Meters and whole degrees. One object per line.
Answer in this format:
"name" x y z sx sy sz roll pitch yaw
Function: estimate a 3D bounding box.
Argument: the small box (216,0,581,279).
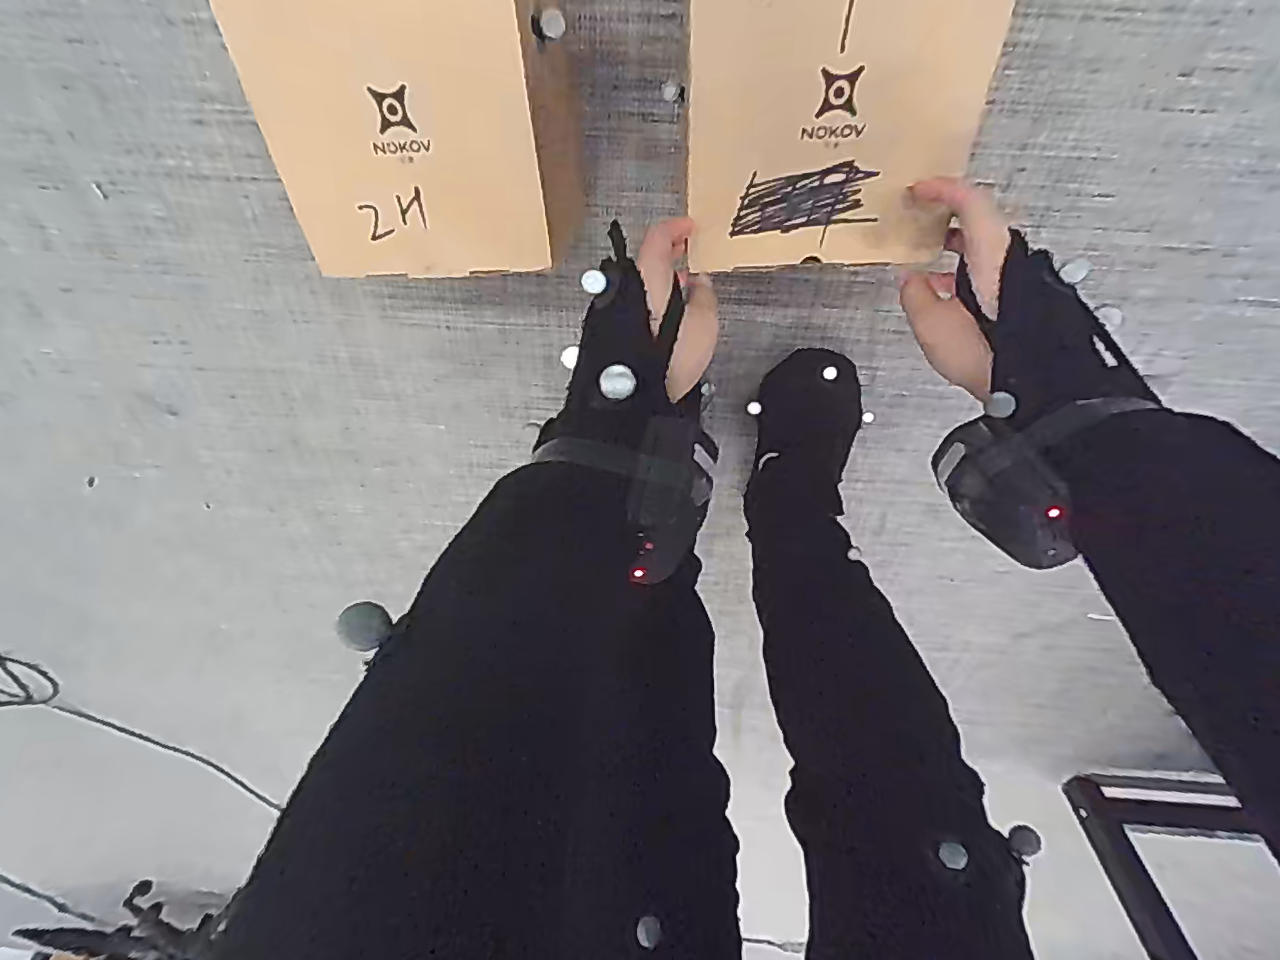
"small box" -0.141 -0.260 0.388 0.168 0.176 0.179 0 129 5

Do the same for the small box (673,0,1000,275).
"small box" 0.107 -0.258 0.373 0.168 0.176 0.179 0 128 3
